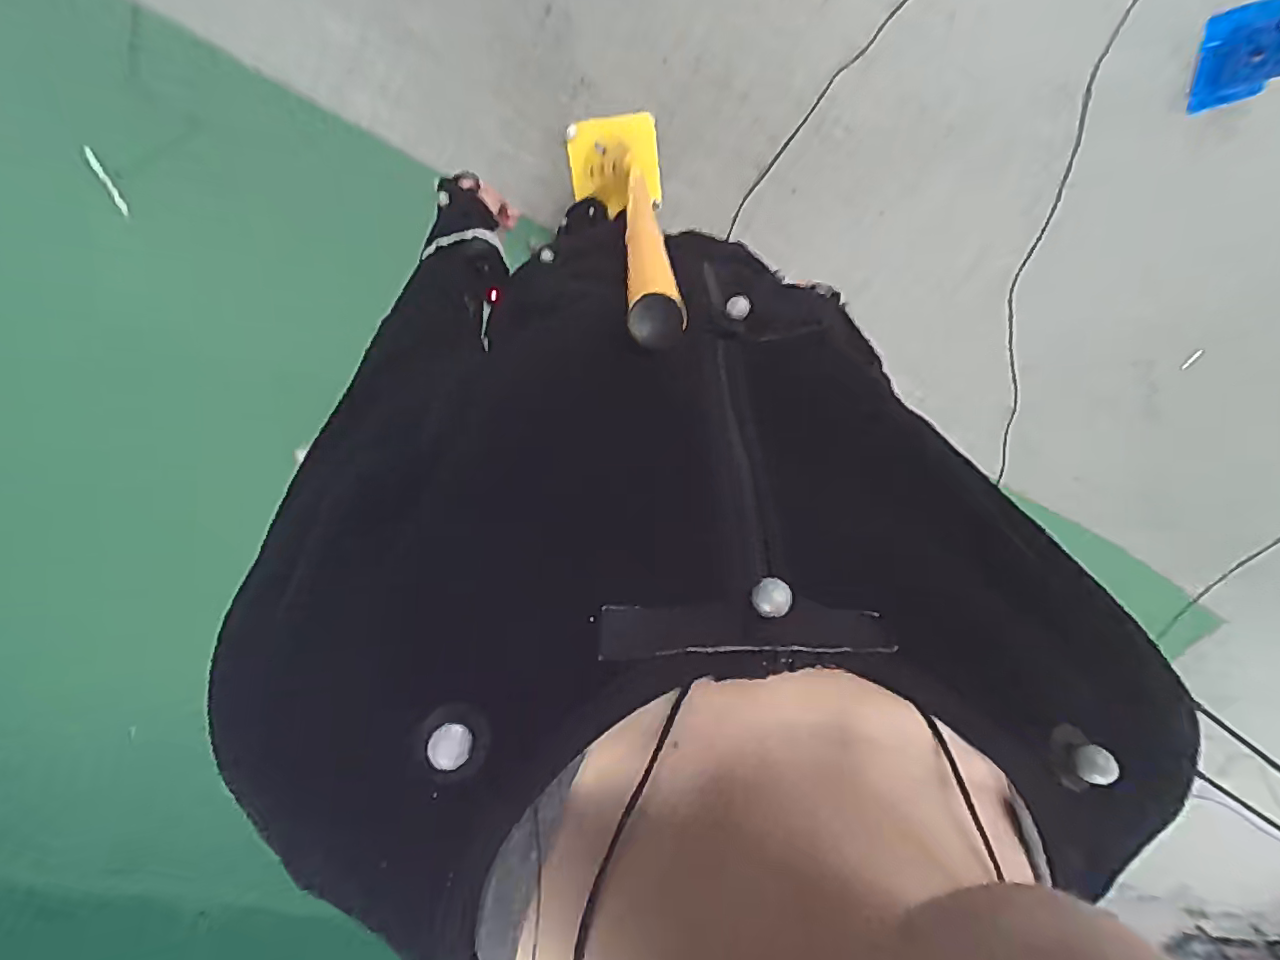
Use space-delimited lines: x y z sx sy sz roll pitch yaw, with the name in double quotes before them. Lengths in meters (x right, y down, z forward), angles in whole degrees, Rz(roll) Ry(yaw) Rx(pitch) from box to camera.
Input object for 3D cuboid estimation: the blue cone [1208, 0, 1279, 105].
"blue cone" 1.469 -0.940 1.128 0.193 0.380 0.192 -18 120 -1
